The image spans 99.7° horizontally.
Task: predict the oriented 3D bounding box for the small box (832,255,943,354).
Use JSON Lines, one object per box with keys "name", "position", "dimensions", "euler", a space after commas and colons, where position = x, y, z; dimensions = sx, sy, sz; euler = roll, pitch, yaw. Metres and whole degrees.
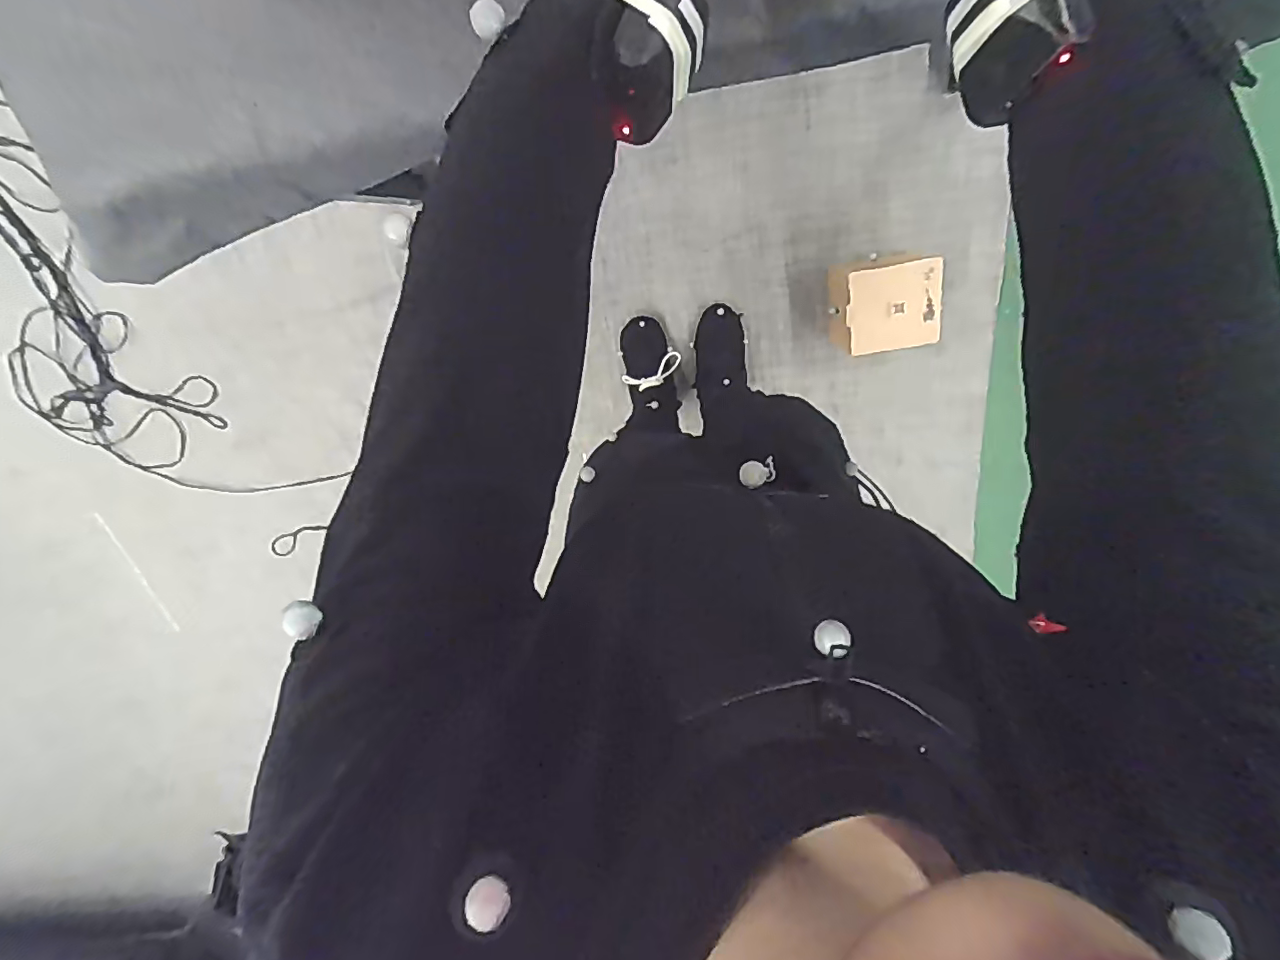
{"name": "small box", "position": [0.506, -0.369, 1.131], "dimensions": [0.179, 0.176, 0.168], "euler": [-7, 113, 9]}
